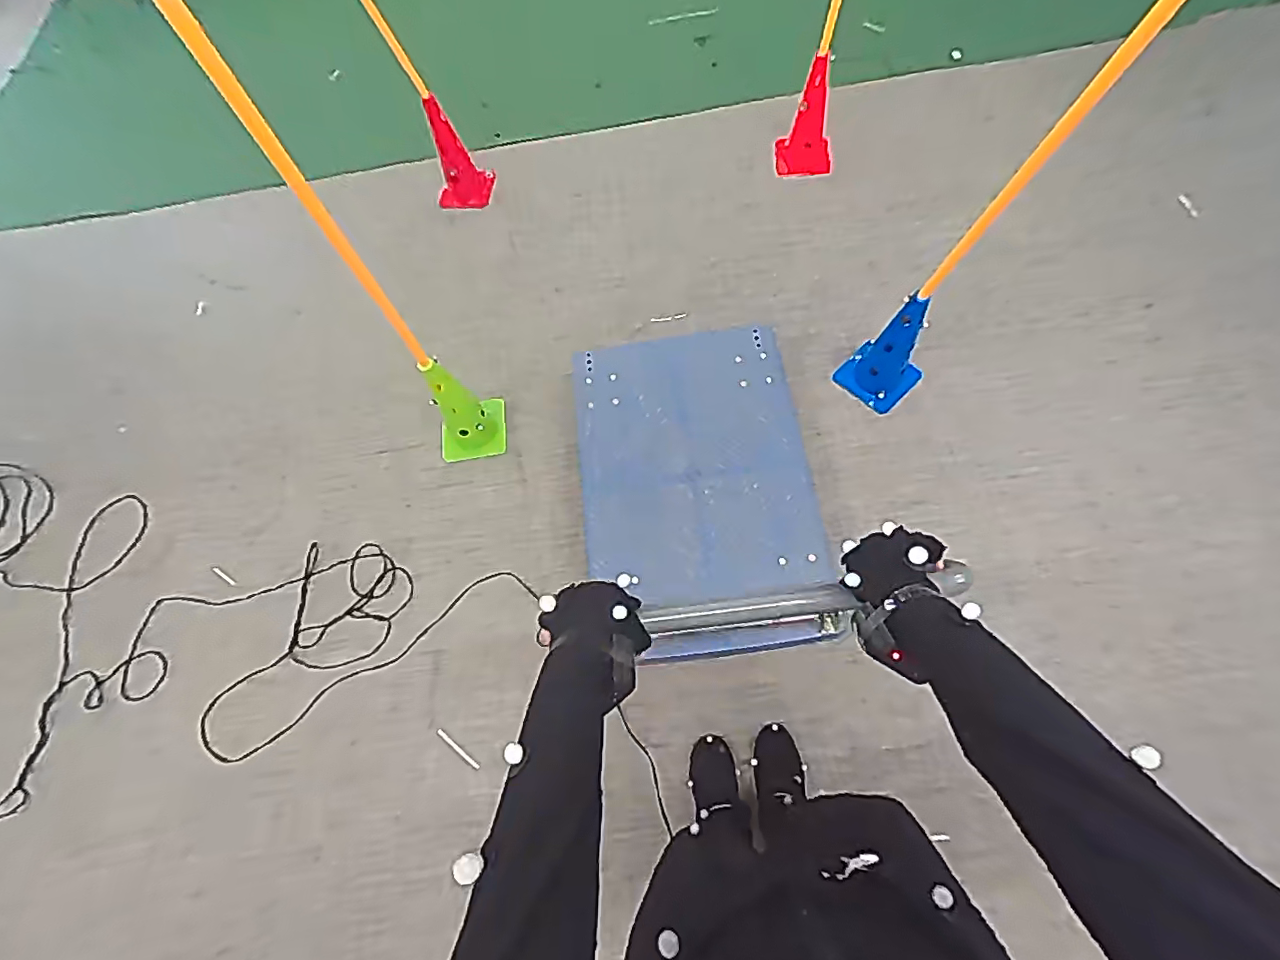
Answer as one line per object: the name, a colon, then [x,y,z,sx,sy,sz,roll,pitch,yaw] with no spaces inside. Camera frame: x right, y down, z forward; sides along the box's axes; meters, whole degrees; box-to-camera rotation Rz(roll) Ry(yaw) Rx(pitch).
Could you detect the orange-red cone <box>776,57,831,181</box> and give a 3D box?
orange-red cone: [0.594,-1.259,1.870,0.198,0.360,0.199,2,68,7]
